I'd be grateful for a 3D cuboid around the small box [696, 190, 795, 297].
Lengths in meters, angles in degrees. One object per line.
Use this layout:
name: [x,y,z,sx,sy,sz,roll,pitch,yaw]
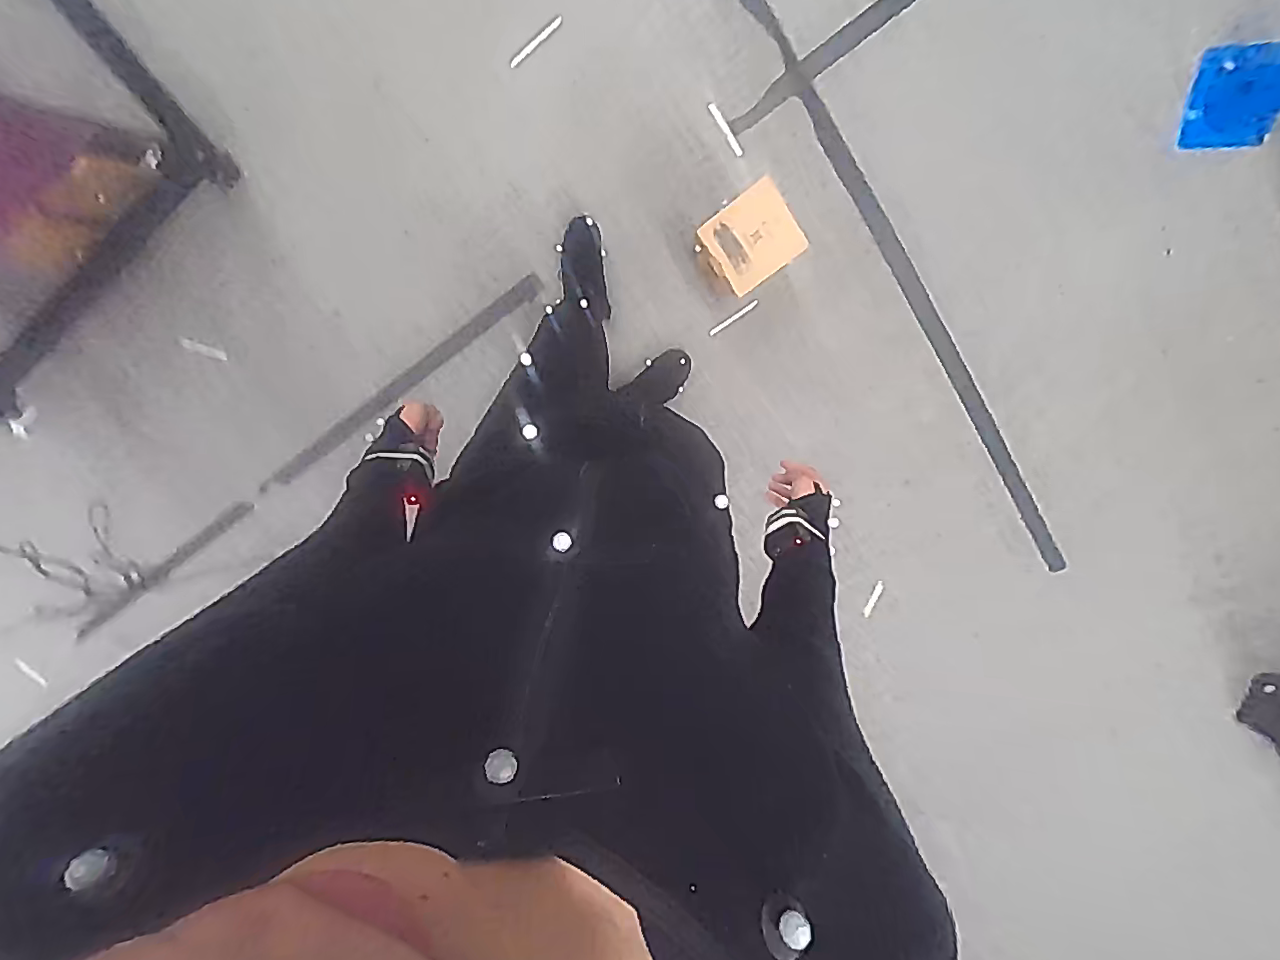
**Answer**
small box: [0.250,-0.579,1.334,0.179,0.176,0.168,-35,105,17]
